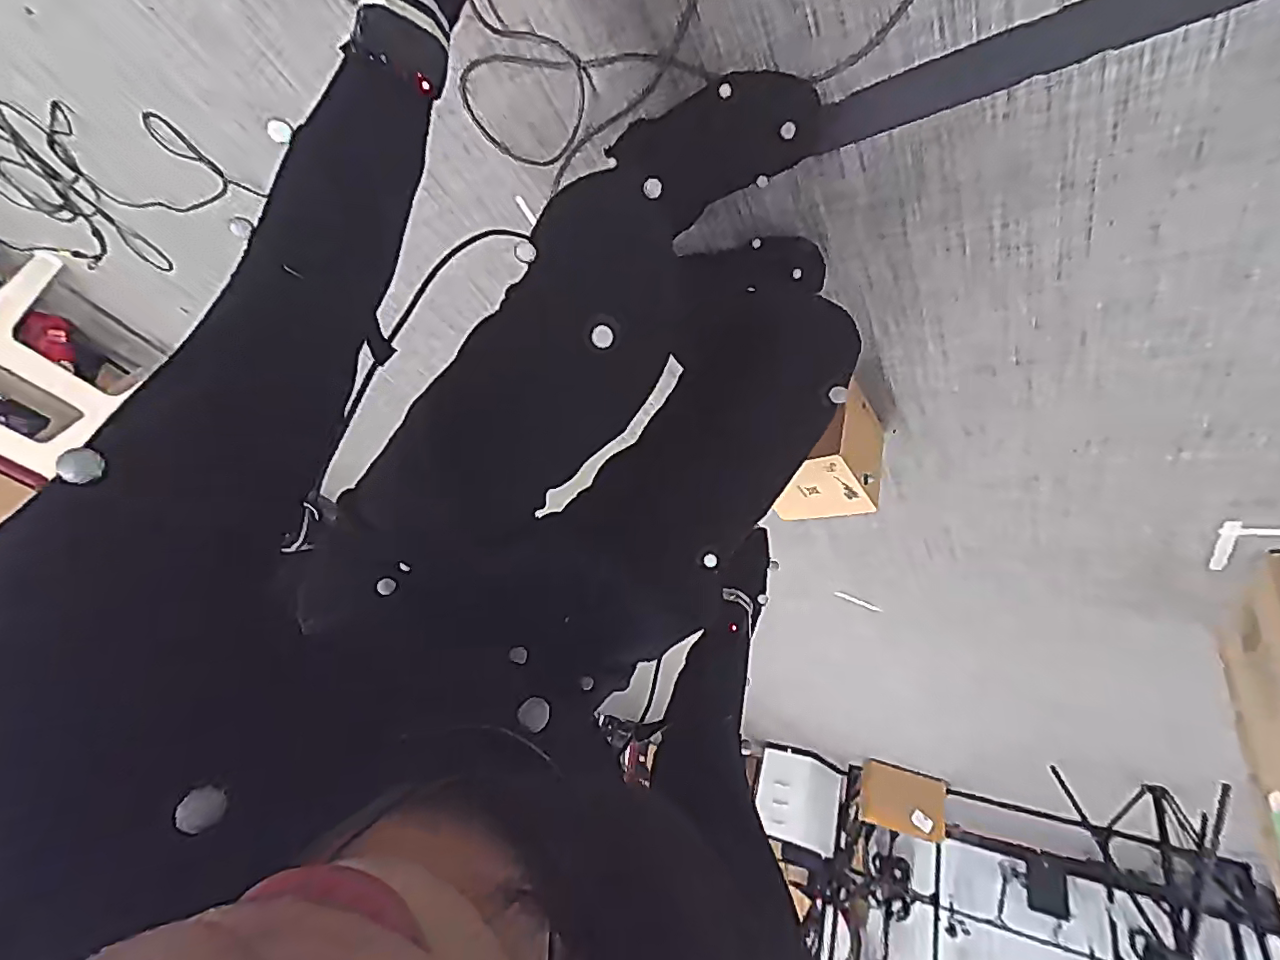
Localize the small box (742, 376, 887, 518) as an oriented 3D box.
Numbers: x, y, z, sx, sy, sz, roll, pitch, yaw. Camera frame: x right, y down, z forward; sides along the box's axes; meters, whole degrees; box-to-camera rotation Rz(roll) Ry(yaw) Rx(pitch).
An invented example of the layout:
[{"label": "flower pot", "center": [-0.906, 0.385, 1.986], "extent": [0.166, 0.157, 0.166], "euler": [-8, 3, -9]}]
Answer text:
[{"label": "small box", "center": [0.305, -0.052, 0.931], "extent": [0.179, 0.176, 0.168], "euler": [-9, 140, 42]}]
